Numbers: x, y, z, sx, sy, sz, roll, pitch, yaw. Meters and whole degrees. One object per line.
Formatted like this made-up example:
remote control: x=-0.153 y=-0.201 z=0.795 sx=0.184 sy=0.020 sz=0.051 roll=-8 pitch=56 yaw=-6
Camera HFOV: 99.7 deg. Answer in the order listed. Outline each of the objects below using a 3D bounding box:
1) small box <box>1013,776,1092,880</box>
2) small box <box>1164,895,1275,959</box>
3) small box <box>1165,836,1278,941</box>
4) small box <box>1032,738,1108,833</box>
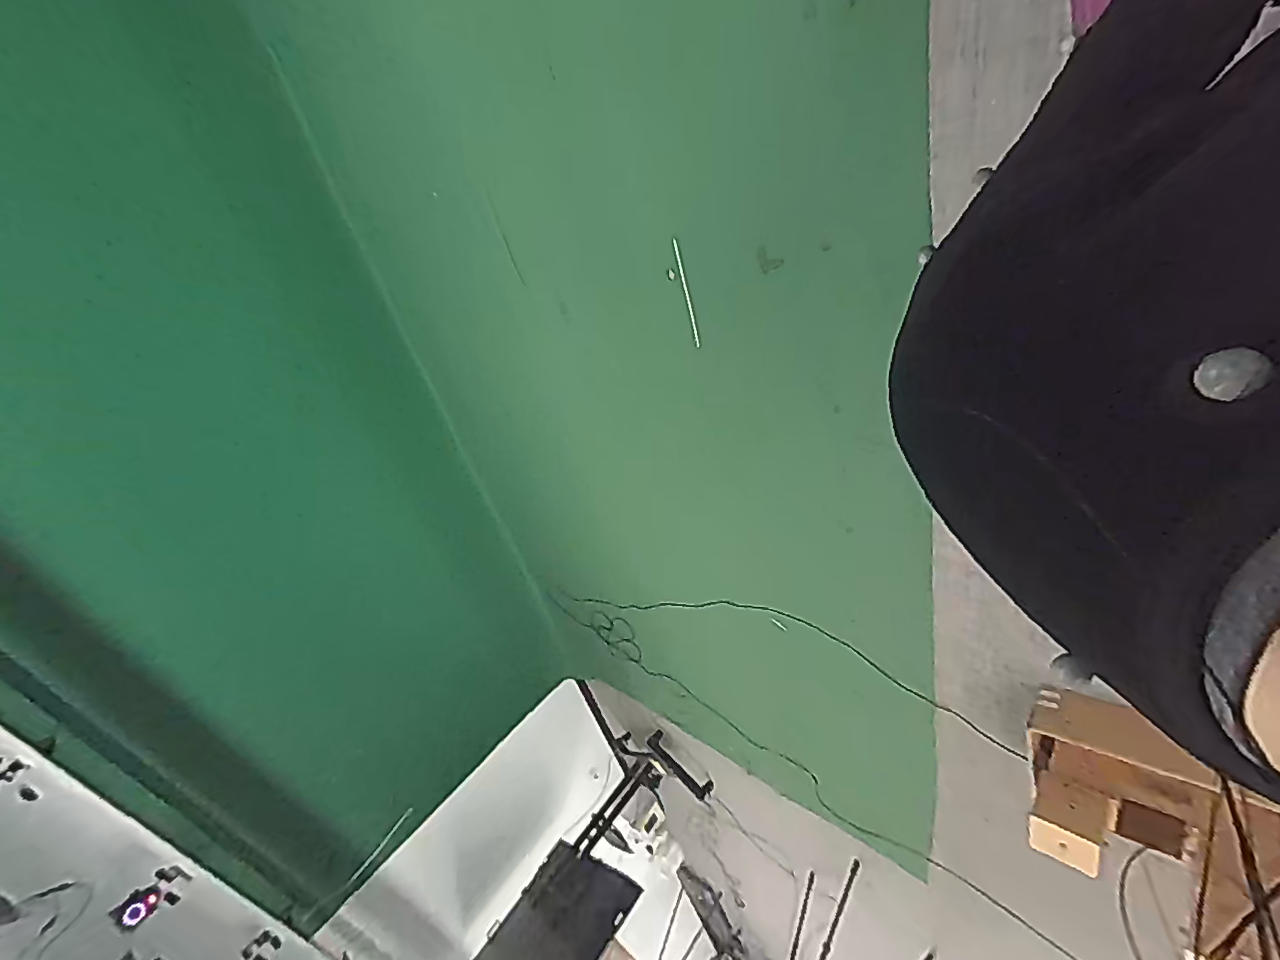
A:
small box: x=1.261 y=1.053 z=1.653 sx=0.168 sy=0.176 sz=0.179 roll=11 pitch=129 yaw=44
small box: x=1.404 y=1.165 z=1.315 sx=0.179 sy=0.176 sz=0.168 roll=4 pitch=121 yaw=45
small box: x=1.509 y=1.084 z=1.408 sx=0.179 sy=0.176 sz=0.168 roll=11 pitch=127 yaw=44
small box: x=1.378 y=0.973 z=1.738 sx=0.179 sy=0.176 sz=0.168 roll=9 pitch=127 yaw=43
